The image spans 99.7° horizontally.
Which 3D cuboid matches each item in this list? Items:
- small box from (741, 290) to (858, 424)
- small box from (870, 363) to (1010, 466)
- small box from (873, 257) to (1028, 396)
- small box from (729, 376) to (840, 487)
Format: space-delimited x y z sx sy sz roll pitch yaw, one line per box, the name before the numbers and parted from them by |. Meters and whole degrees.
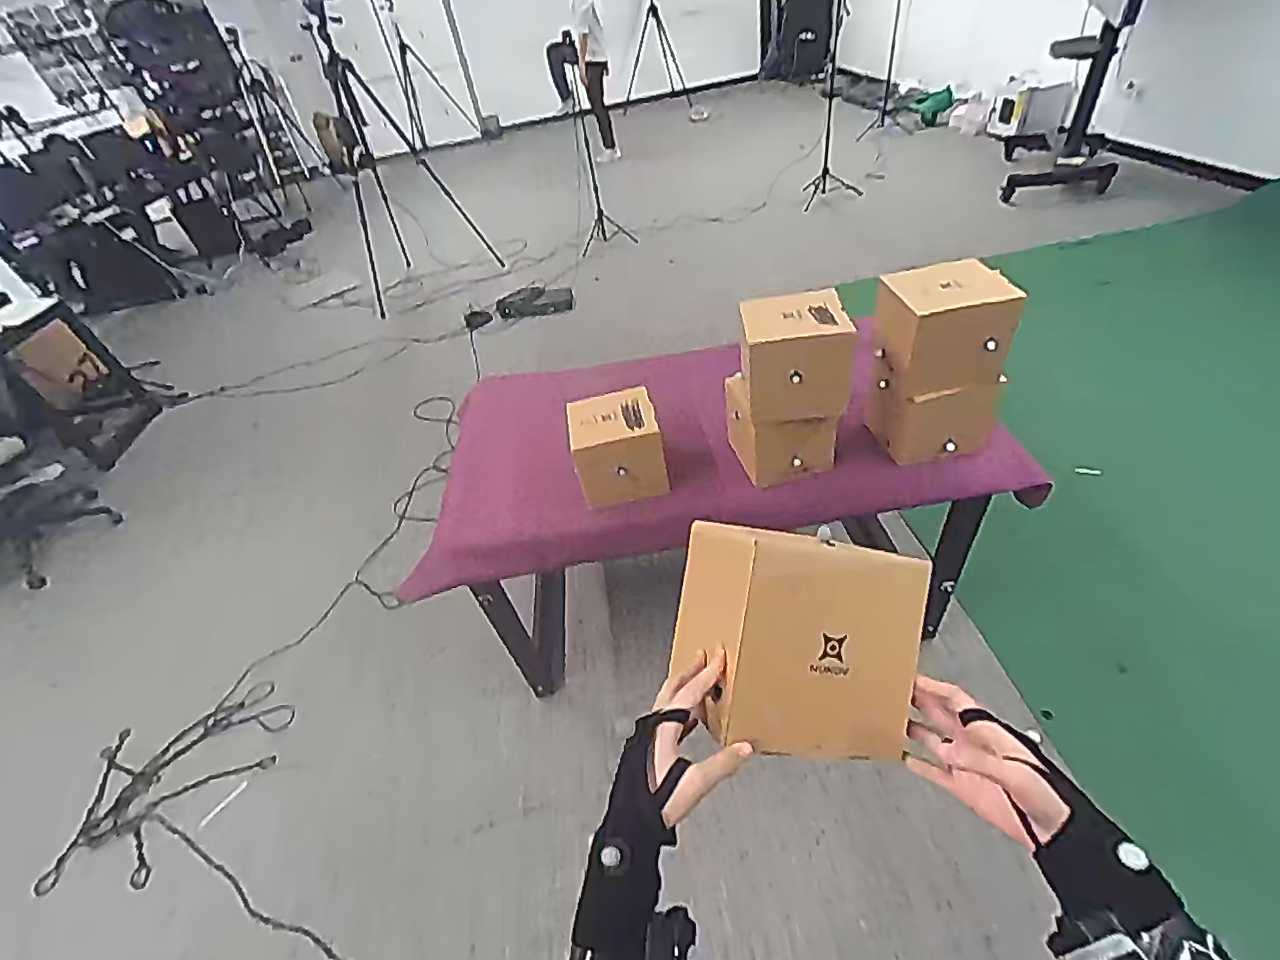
small box | 0.280 -0.221 0.983 0.179 0.176 0.168 -6 42 9
small box | 0.584 -0.153 1.081 0.179 0.176 0.168 -14 42 0
small box | 0.544 -0.275 0.977 0.179 0.176 0.168 -10 42 4
small box | 0.290 -0.114 1.111 0.168 0.176 0.179 -15 42 -2
